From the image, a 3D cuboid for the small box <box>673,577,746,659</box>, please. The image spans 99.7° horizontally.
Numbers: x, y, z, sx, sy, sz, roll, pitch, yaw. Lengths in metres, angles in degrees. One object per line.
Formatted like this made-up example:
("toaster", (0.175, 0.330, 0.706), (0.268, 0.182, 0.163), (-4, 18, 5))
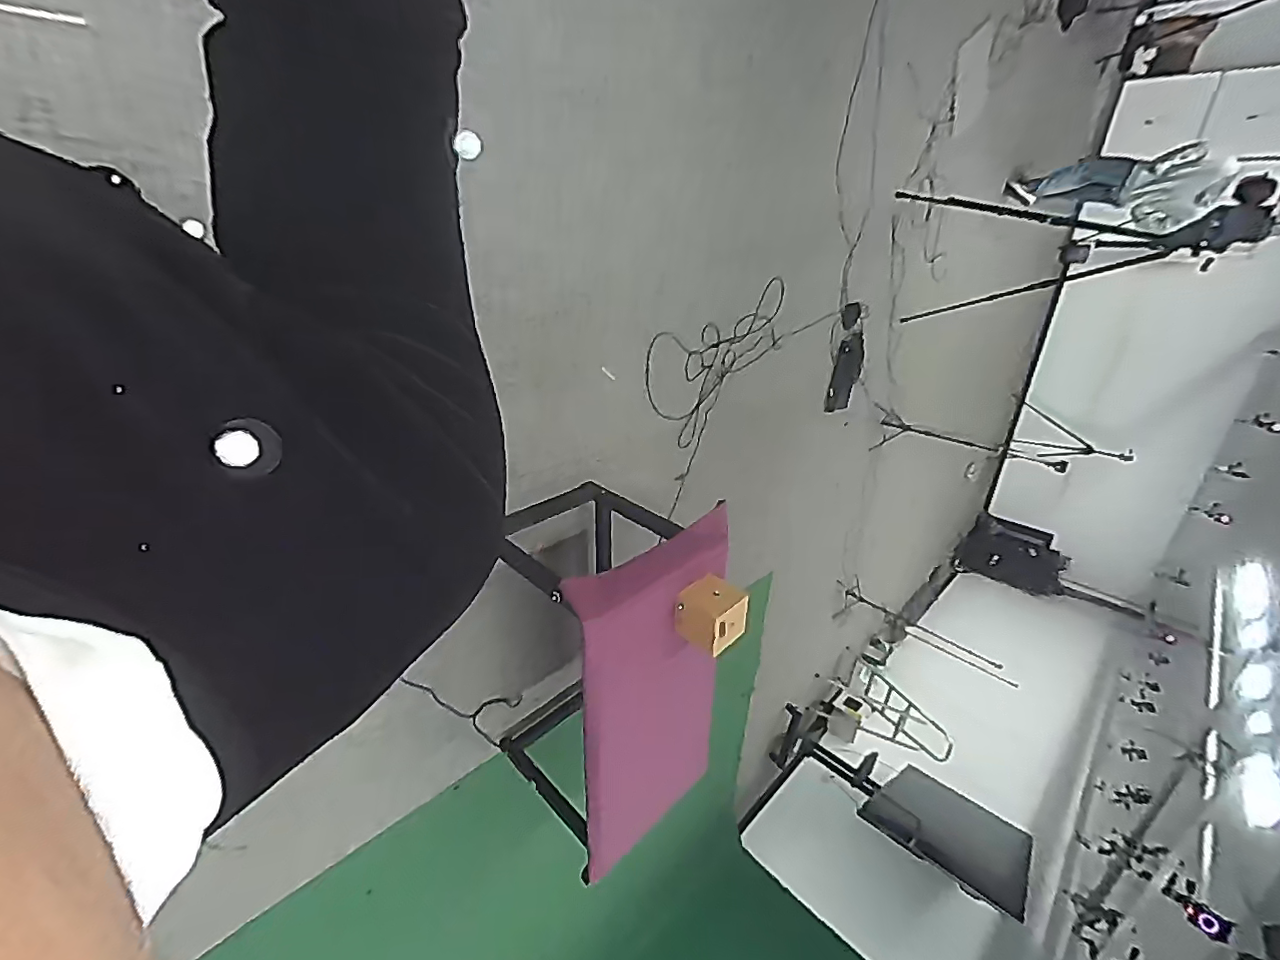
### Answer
("small box", (0.225, 0.450, 1.789), (0.179, 0.176, 0.168), (-24, 125, -40))
